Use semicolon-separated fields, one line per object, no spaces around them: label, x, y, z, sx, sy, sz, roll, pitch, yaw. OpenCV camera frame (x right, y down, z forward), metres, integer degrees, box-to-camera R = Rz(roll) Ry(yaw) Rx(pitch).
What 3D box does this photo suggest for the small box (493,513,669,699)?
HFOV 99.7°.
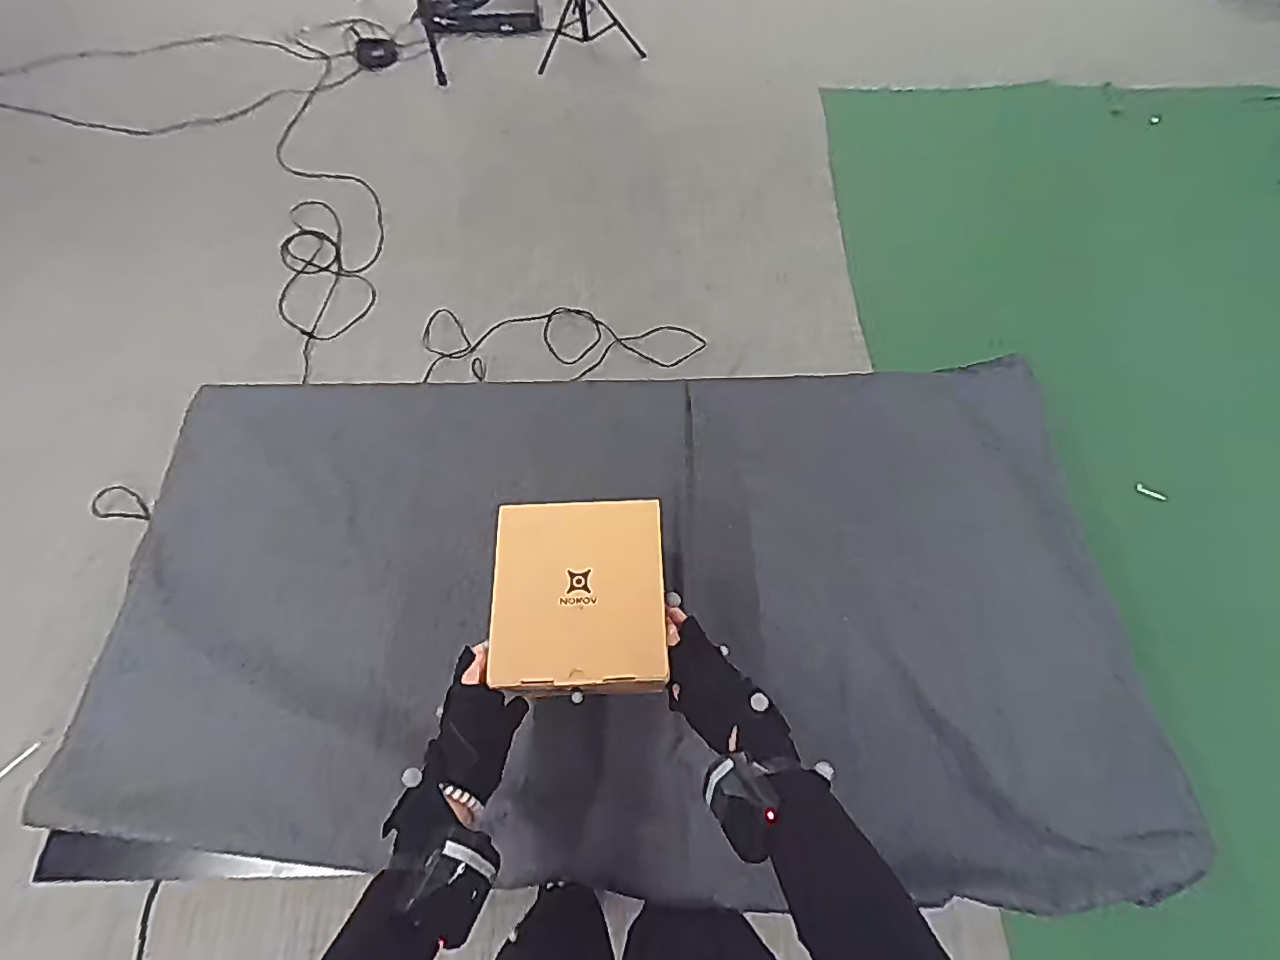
small box;-0.058;0.147;0.605;0.168;0.176;0.179;-2;67;-1
